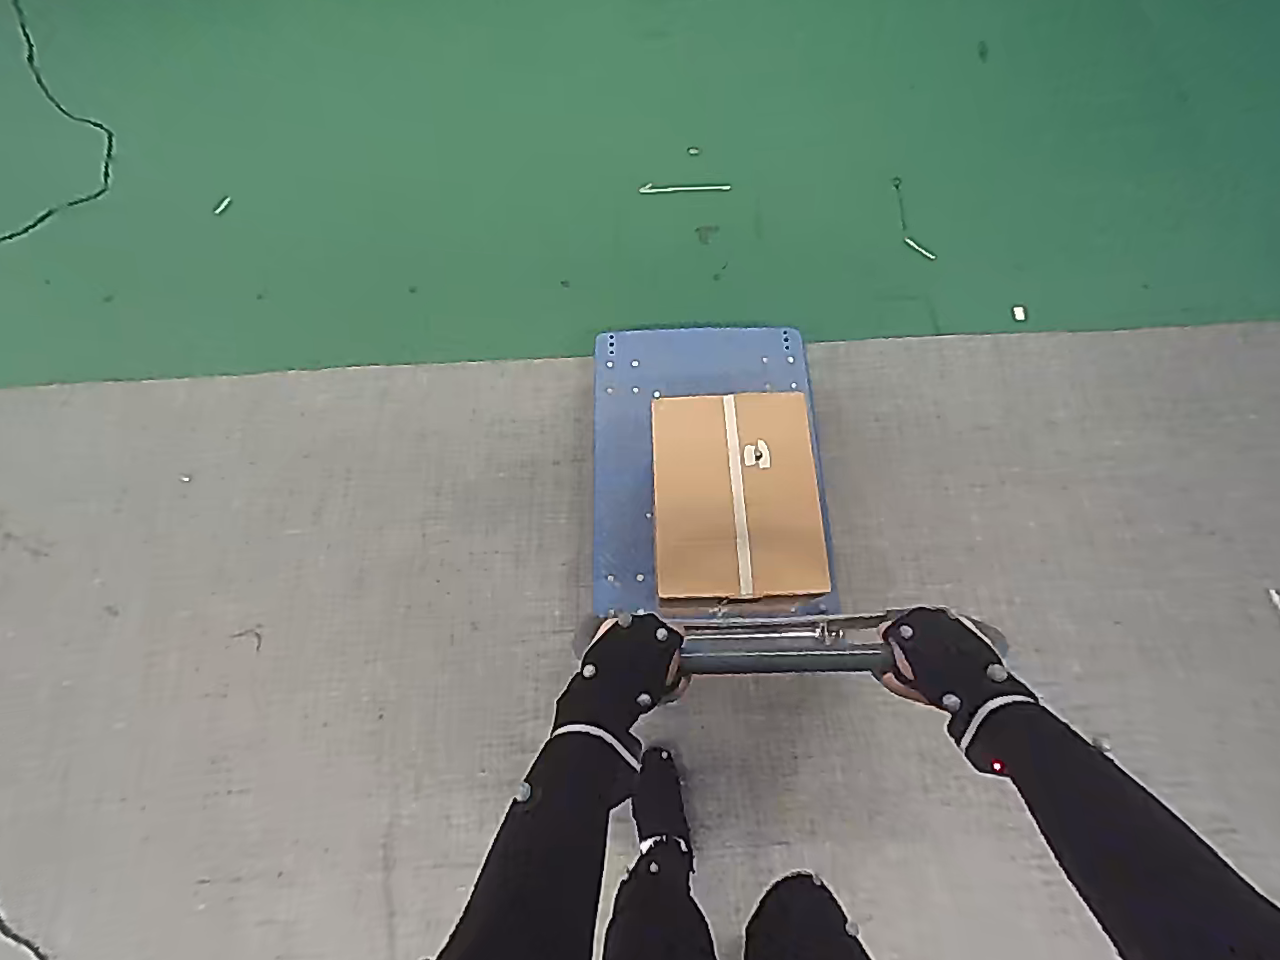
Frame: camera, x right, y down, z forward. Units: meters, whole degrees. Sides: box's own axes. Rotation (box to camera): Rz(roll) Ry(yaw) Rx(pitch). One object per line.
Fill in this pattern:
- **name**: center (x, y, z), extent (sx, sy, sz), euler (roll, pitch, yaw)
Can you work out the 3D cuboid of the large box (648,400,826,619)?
- **large box**: center (0.186, 0.080, 1.190), extent (0.320, 0.320, 0.408), euler (-2, 70, 1)
